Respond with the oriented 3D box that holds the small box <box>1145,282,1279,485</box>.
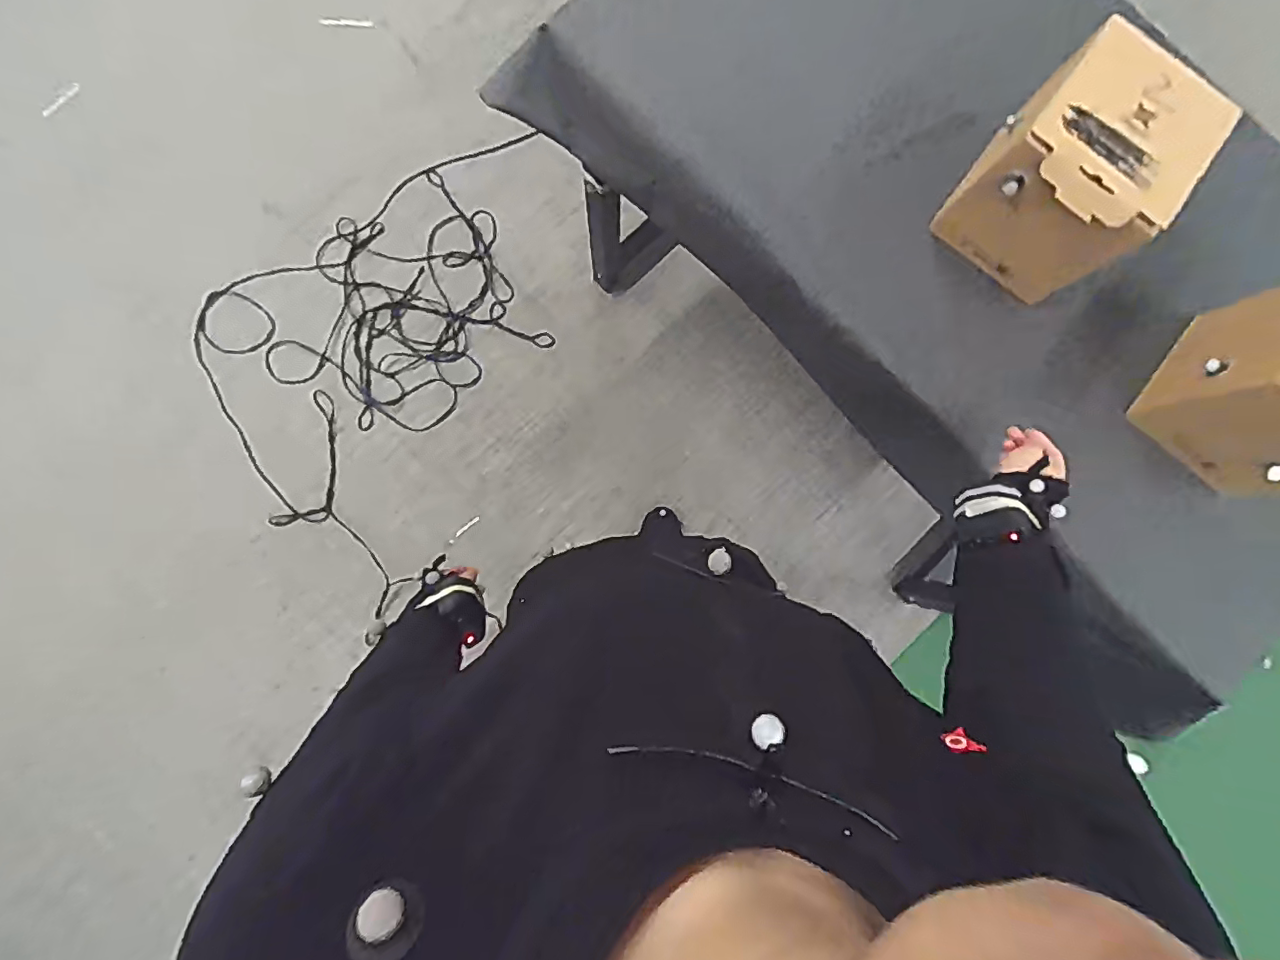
[{"bbox_3d":[0.735,-0.110,0.604,0.168,0.176,0.179,39,84,0],"label":"small box"}]
